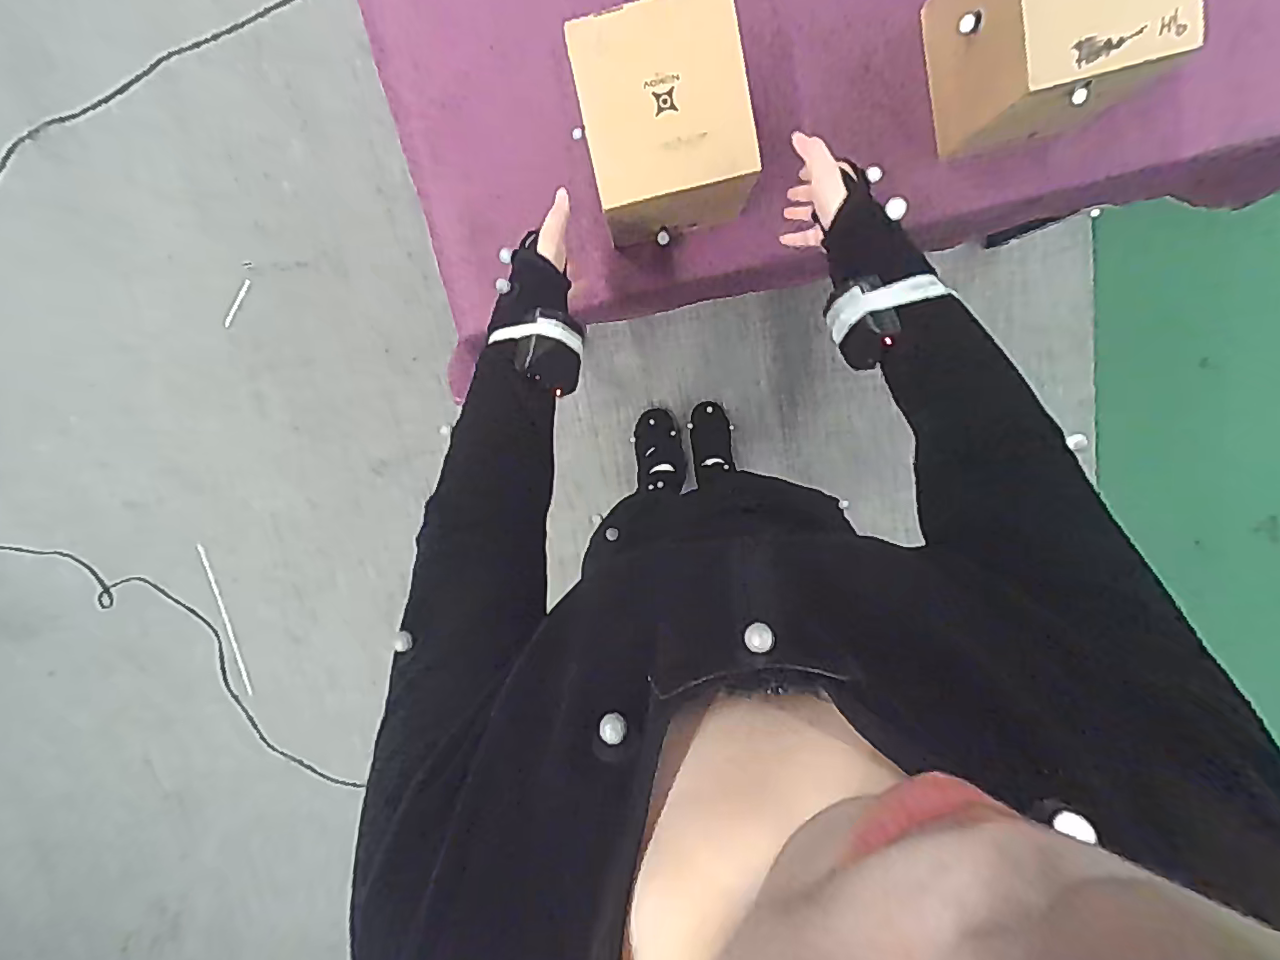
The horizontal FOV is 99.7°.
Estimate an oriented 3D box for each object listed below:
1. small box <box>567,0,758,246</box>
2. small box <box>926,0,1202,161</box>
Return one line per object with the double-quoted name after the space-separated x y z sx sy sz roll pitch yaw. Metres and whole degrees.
0.025 -0.388 0.610 0.168 0.176 0.179 -11 100 4 "small box"
0.433 -0.485 0.580 0.168 0.176 0.179 -12 99 5 "small box"
